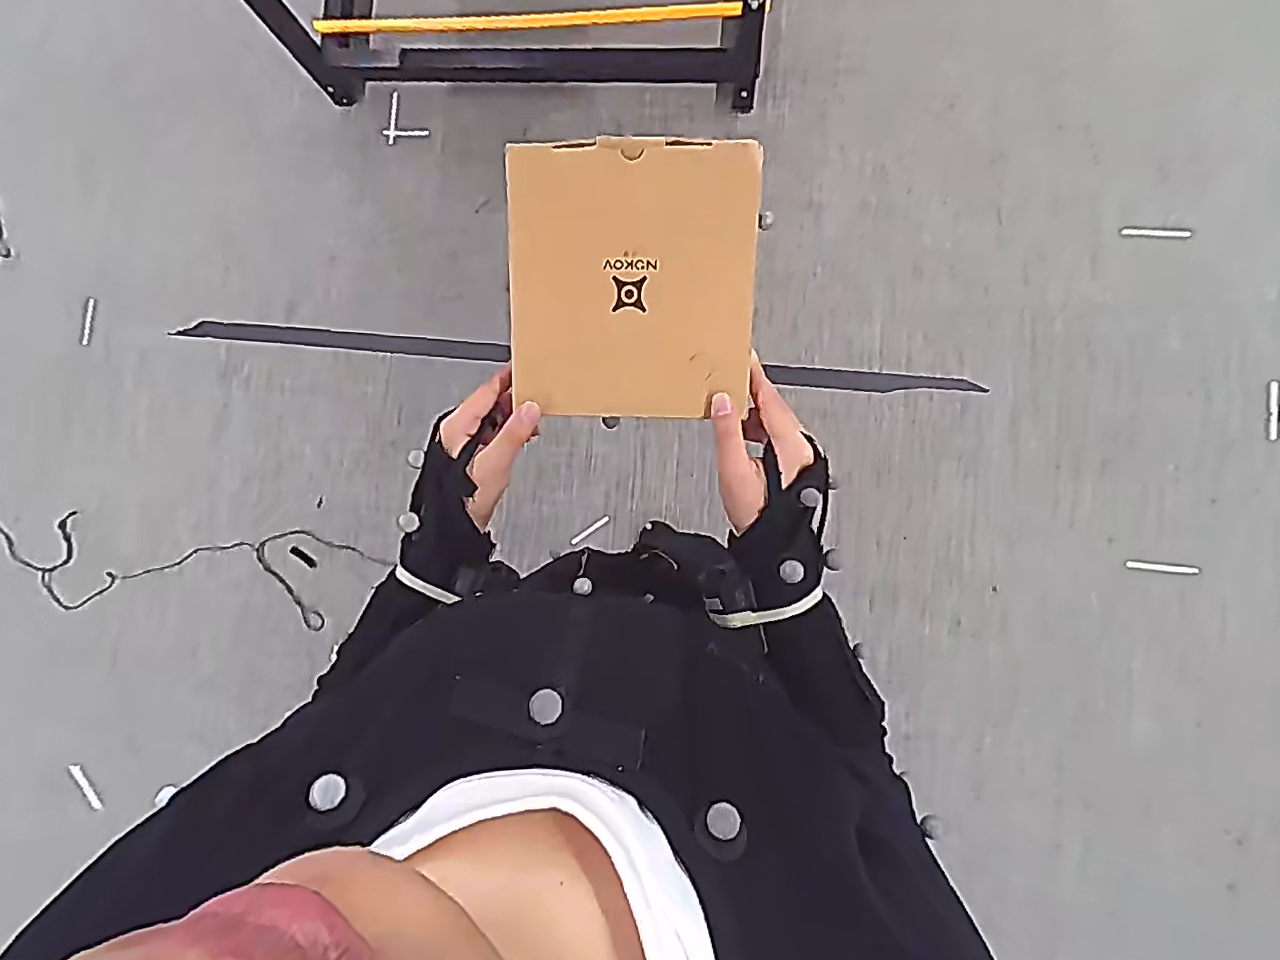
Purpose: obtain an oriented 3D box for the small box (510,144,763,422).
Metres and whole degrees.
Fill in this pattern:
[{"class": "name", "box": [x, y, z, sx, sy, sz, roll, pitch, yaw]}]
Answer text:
[{"class": "small box", "box": [0.003, -0.143, 0.439, 0.168, 0.176, 0.179, 1, 101, 5]}]
